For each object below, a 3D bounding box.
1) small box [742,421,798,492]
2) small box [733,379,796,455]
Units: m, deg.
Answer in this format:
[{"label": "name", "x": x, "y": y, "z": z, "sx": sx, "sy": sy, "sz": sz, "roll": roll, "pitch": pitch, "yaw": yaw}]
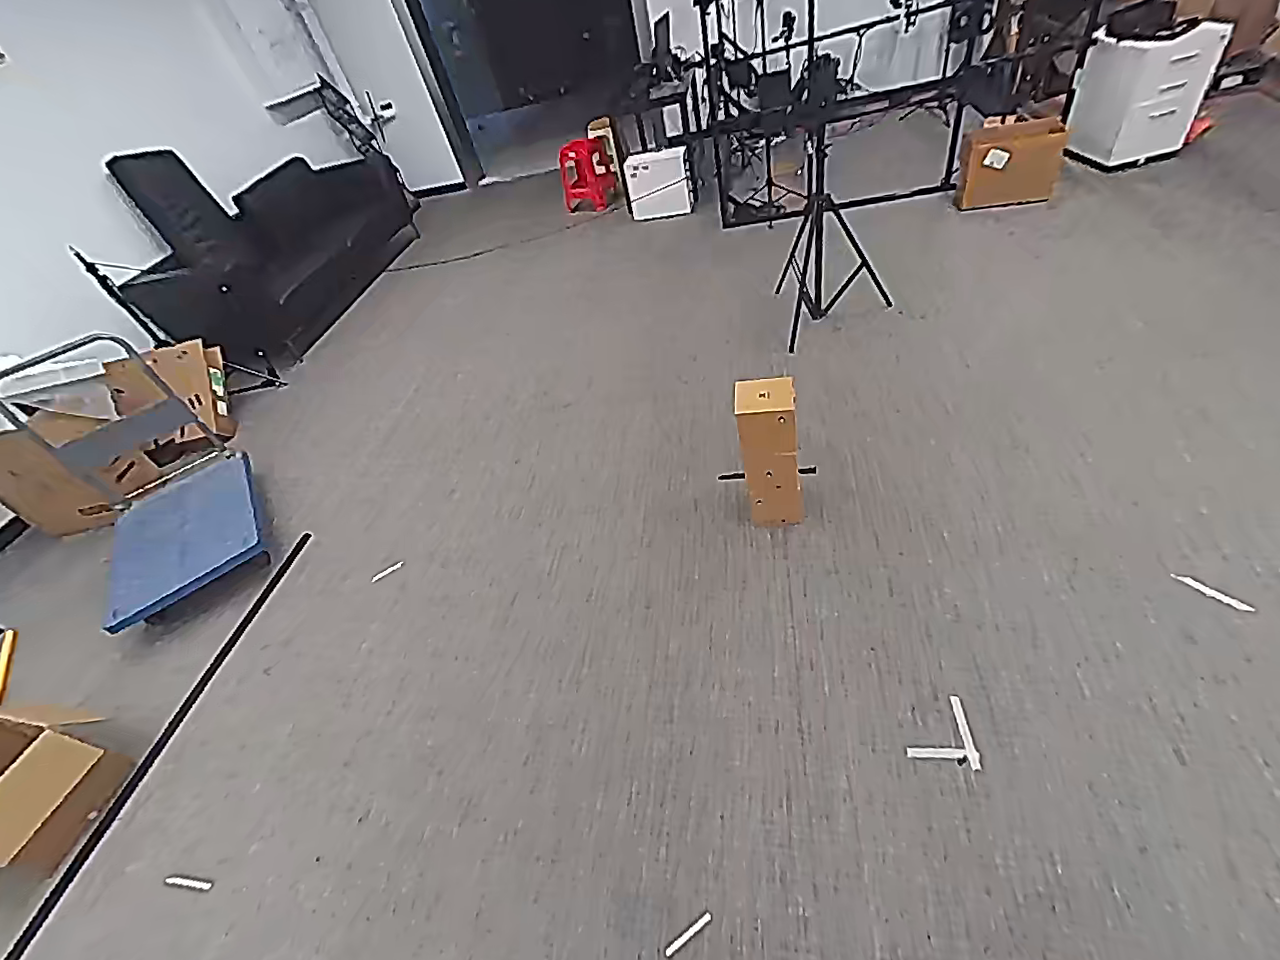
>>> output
[{"label": "small box", "x": 0.431, "y": -0.075, "z": 1.779, "sx": 0.168, "sy": 0.176, "sz": 0.179, "roll": 0, "pitch": 45, "yaw": 17}, {"label": "small box", "x": 0.387, "y": -0.191, "z": 1.673, "sx": 0.179, "sy": 0.176, "sz": 0.168, "roll": -3, "pitch": 45, "yaw": 14}]
